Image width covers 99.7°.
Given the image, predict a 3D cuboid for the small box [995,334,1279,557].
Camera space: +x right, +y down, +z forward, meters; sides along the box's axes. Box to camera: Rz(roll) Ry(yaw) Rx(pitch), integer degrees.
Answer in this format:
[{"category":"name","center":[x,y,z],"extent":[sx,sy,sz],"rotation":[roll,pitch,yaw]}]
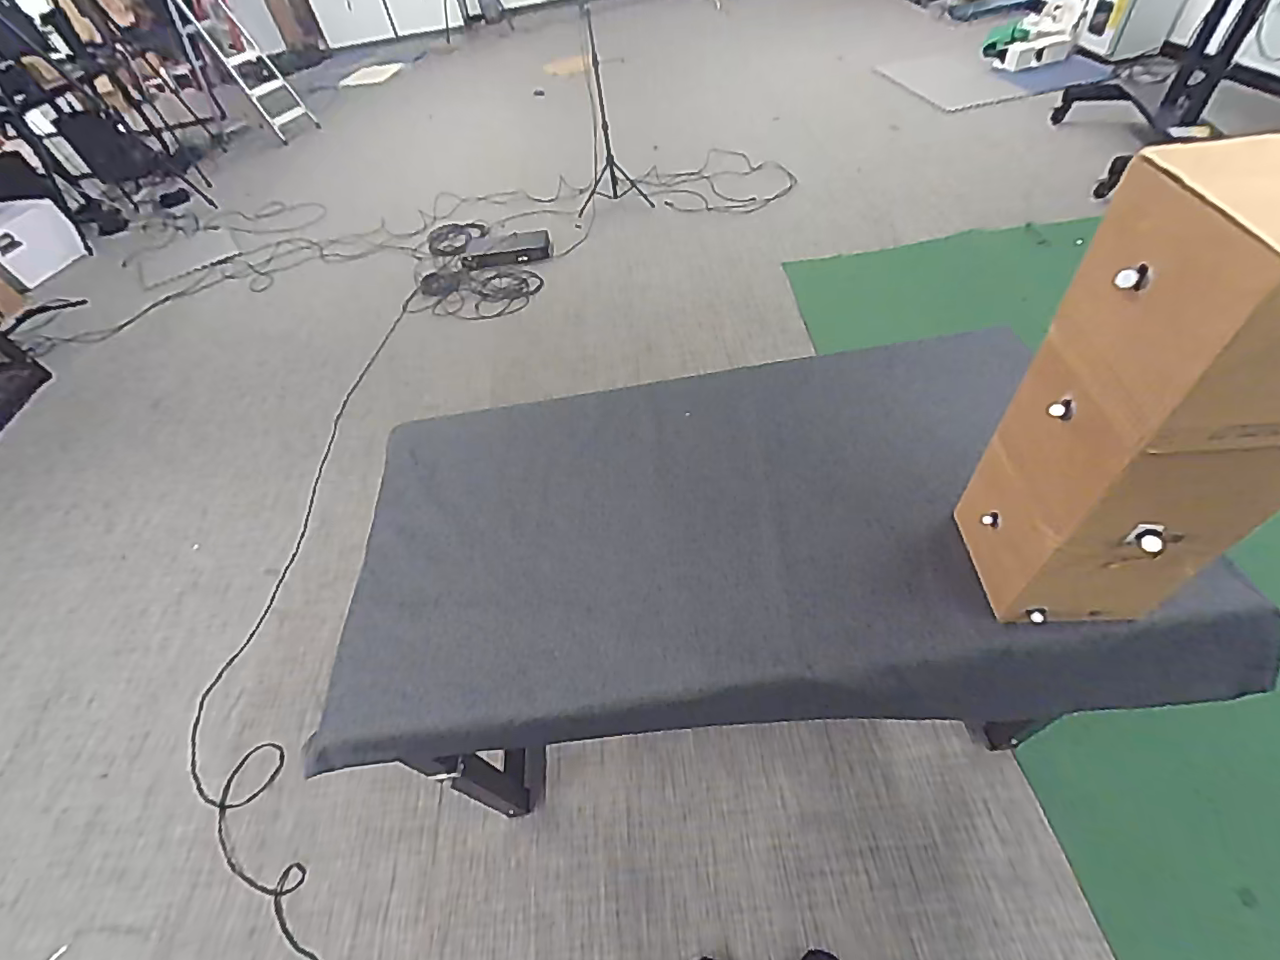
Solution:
[{"category":"small box","center":[0.505,-0.038,0.559],"extent":[0.168,0.176,0.179],"rotation":[-3,51,9]}]

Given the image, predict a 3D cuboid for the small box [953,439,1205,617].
[{"category":"small box","center":[0.529,0.062,0.684],"extent":[0.168,0.176,0.179],"rotation":[-3,49,7]}]

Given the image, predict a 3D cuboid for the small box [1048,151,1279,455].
[{"category":"small box","center":[0.478,-0.140,0.434],"extent":[0.168,0.176,0.179],"rotation":[-3,49,8]}]
